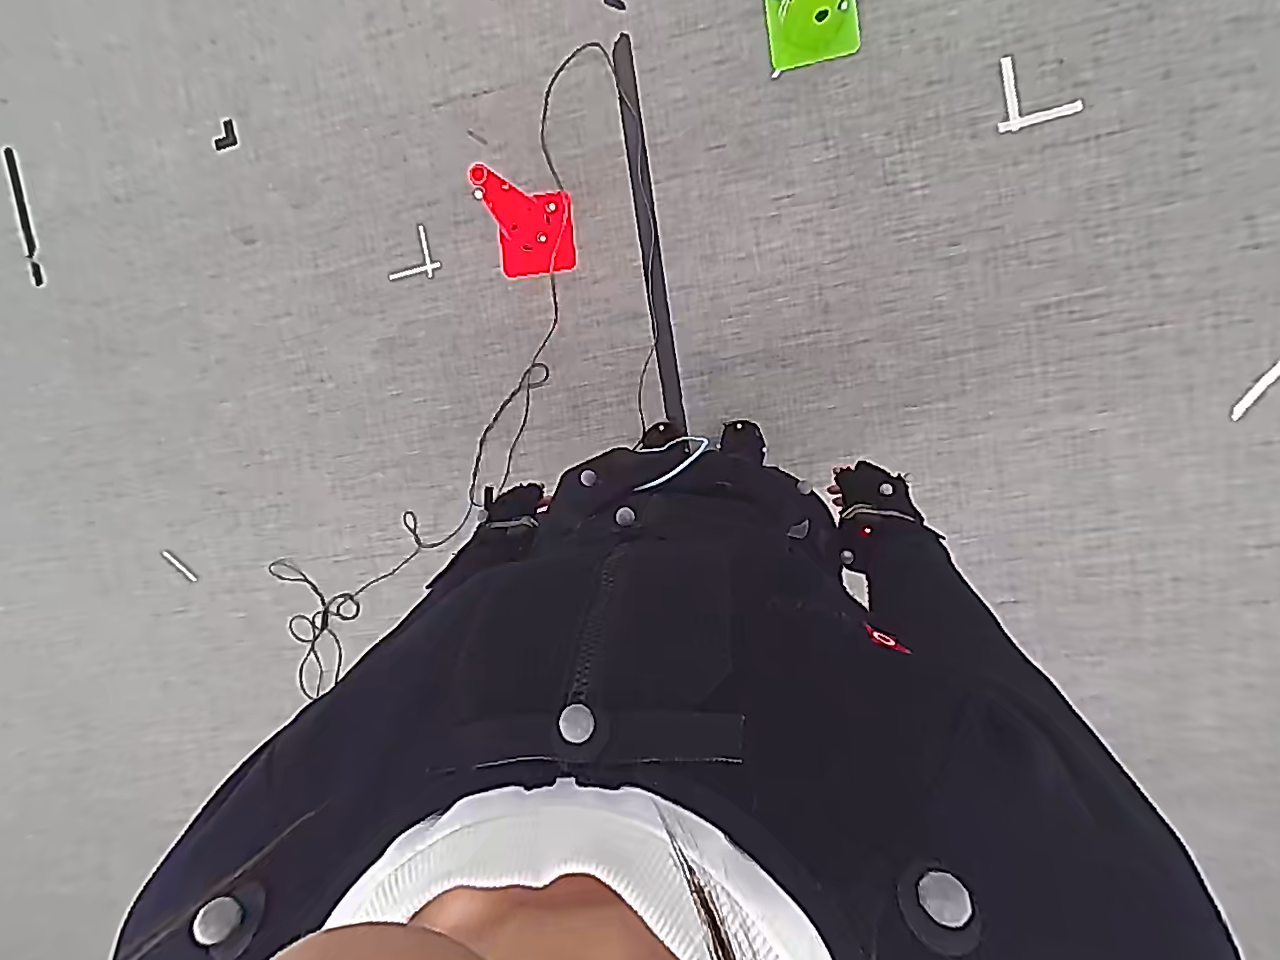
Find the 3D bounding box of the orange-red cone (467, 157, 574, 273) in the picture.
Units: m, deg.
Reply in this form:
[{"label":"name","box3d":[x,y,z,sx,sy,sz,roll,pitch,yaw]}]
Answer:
[{"label":"orange-red cone","box3d":[-0.297,-0.627,1.228,0.199,0.360,0.198,-4,95,10]}]

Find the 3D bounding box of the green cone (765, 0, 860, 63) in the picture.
[{"label":"green cone","box3d":[0.374,-1.062,1.077,0.202,0.368,0.200,-8,95,8]}]
